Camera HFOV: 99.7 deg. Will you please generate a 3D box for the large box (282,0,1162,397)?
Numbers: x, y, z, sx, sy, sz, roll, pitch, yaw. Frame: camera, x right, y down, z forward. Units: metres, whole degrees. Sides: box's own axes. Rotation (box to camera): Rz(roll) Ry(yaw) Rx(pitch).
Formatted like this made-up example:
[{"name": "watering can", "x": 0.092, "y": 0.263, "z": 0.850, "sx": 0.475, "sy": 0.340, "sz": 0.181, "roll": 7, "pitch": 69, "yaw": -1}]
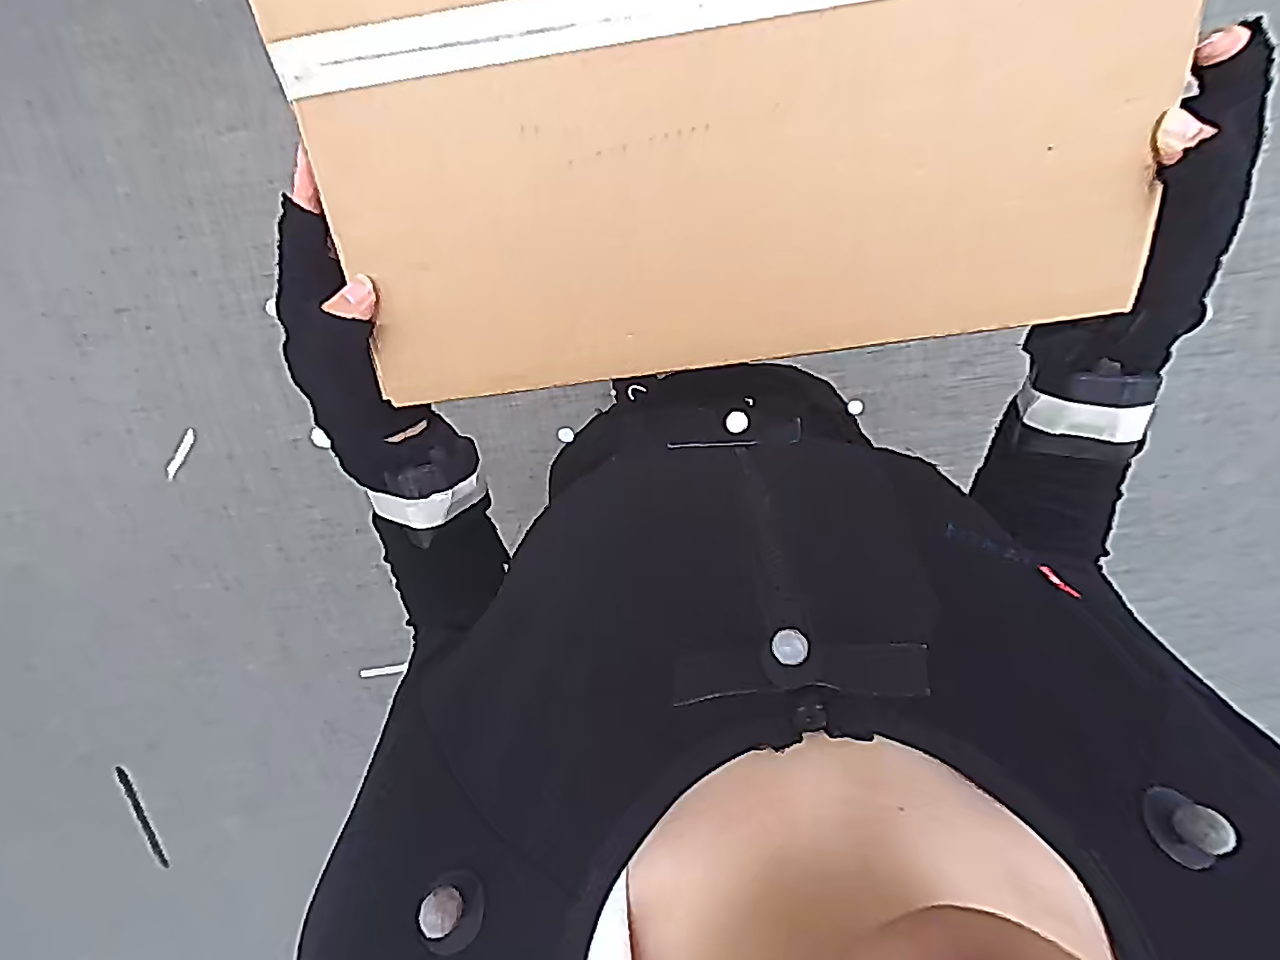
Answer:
[{"name": "large box", "x": 0.035, "y": -0.271, "z": 0.386, "sx": 0.408, "sy": 0.320, "sz": 0.320, "roll": -7, "pitch": 114, "yaw": 3}]
